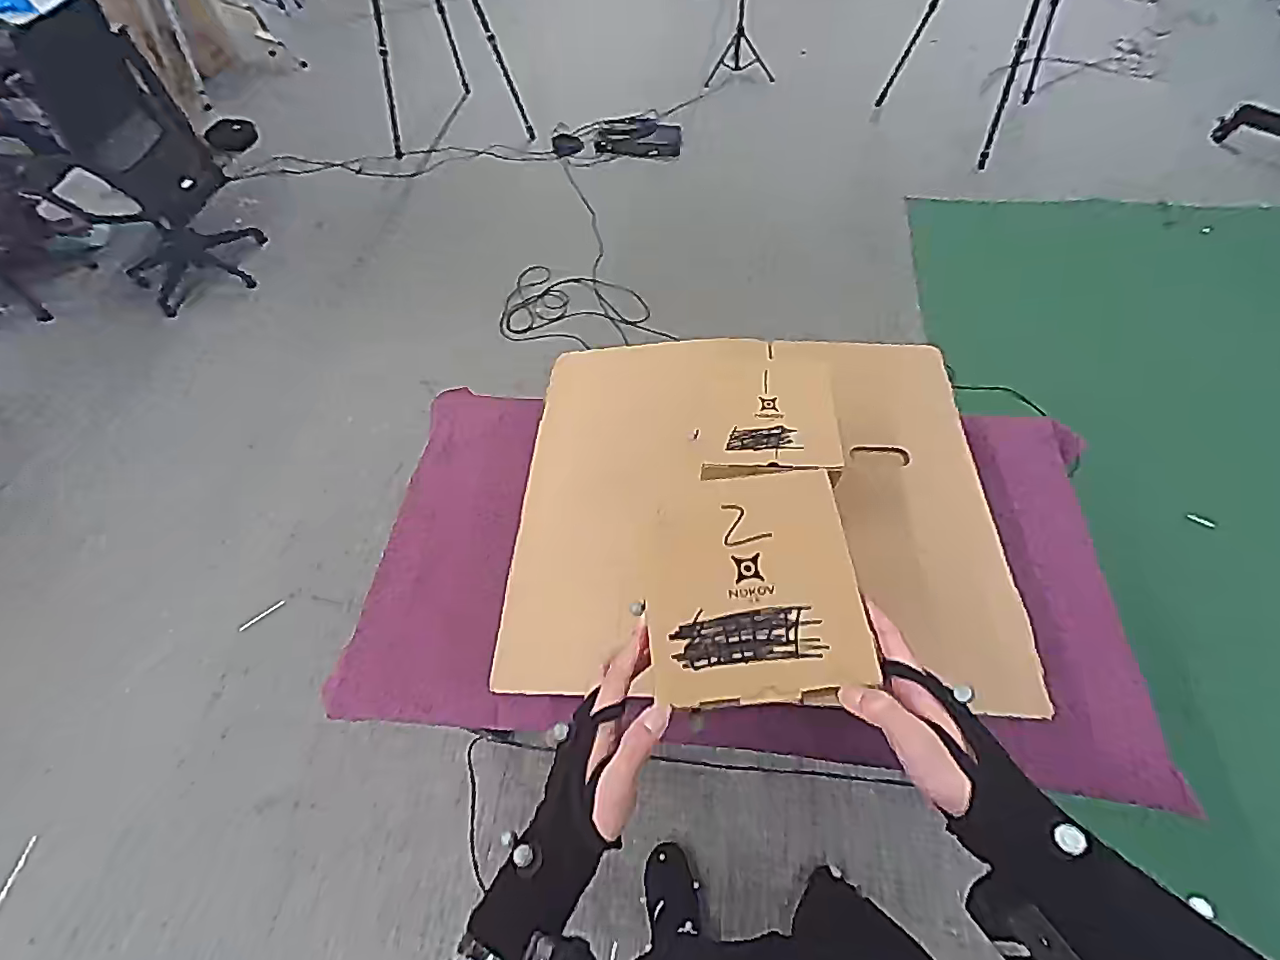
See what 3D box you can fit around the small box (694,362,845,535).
[{"bbox_3d":[0.162,-0.038,0.732,0.168,0.176,0.179,2,57,3],"label":"small box"}]
